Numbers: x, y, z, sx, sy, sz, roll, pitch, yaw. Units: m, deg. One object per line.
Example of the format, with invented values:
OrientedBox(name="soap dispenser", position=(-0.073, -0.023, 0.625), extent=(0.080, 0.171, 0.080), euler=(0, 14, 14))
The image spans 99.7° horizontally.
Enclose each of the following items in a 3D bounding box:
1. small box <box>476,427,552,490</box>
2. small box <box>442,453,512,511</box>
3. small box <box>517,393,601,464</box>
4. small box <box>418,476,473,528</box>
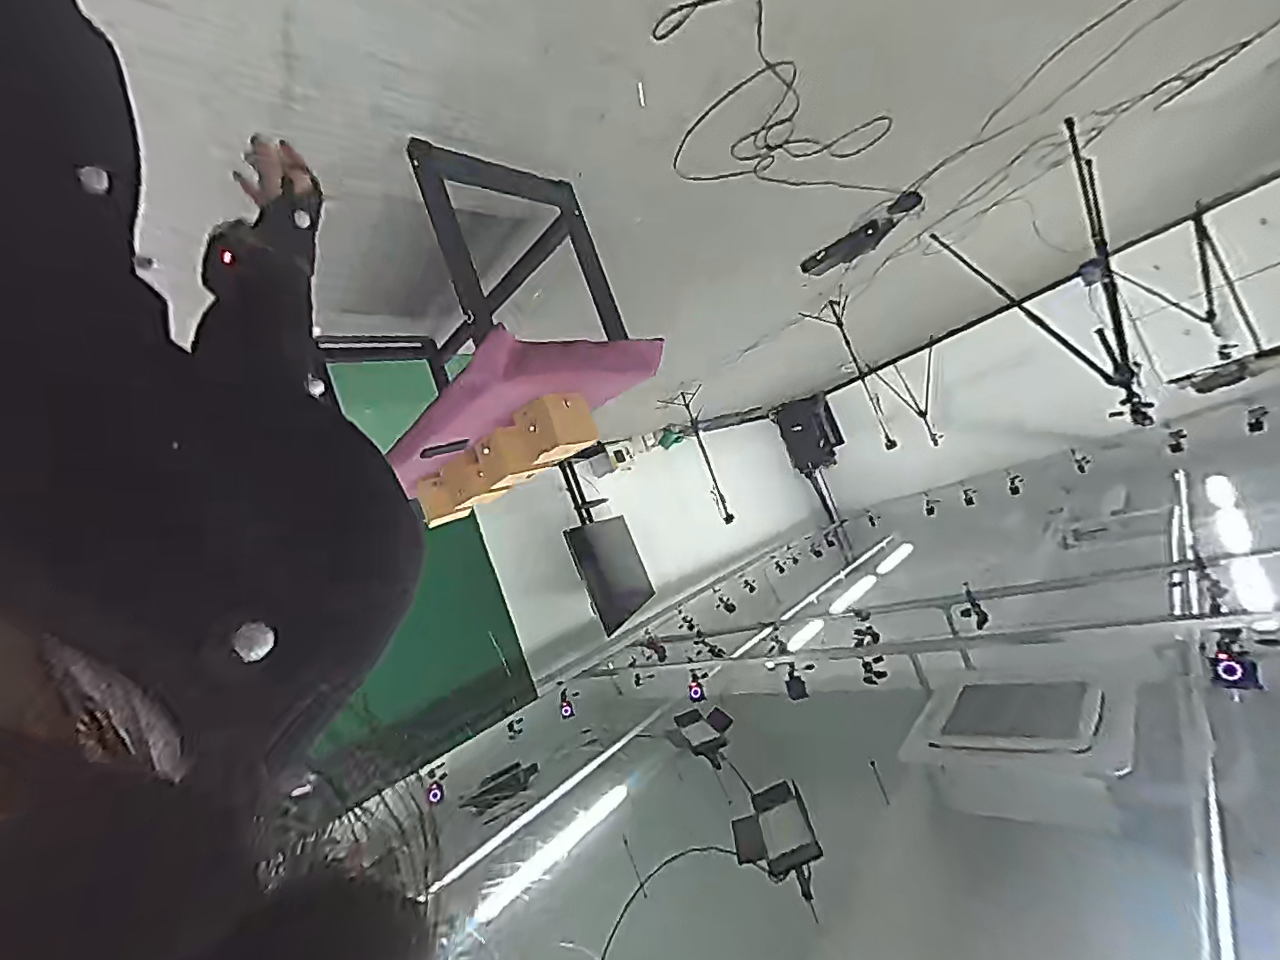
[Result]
OrientedBox(name="small box", position=(-0.441, -0.083, 1.882), extent=(0.179, 0.176, 0.168), euler=(-15, 173, -43))
OrientedBox(name="small box", position=(-0.622, -0.002, 2.048), extent=(0.179, 0.176, 0.168), euler=(-24, 173, 39))
OrientedBox(name="small box", position=(-0.260, -0.166, 1.701), extent=(0.168, 0.176, 0.179), euler=(-24, 173, 41))
OrientedBox(name="small box", position=(-0.802, 0.081, 2.215), extent=(0.168, 0.176, 0.179), euler=(-19, 175, -27))
